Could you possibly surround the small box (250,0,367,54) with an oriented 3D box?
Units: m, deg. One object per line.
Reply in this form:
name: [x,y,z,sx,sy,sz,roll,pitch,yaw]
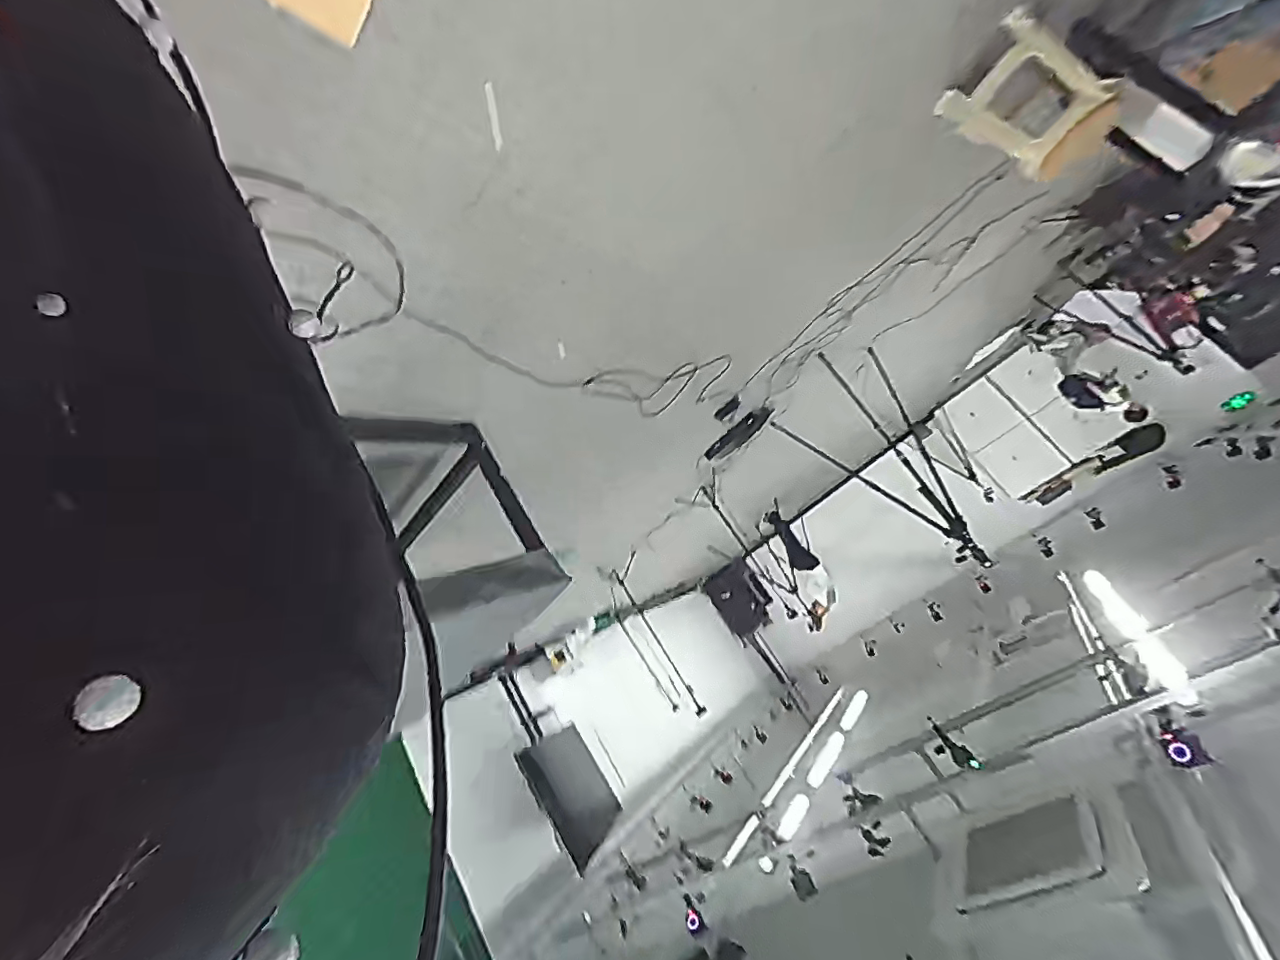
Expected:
small box: [-0.487,-0.754,0.738,0.168,0.176,0.179,-44,159,28]
